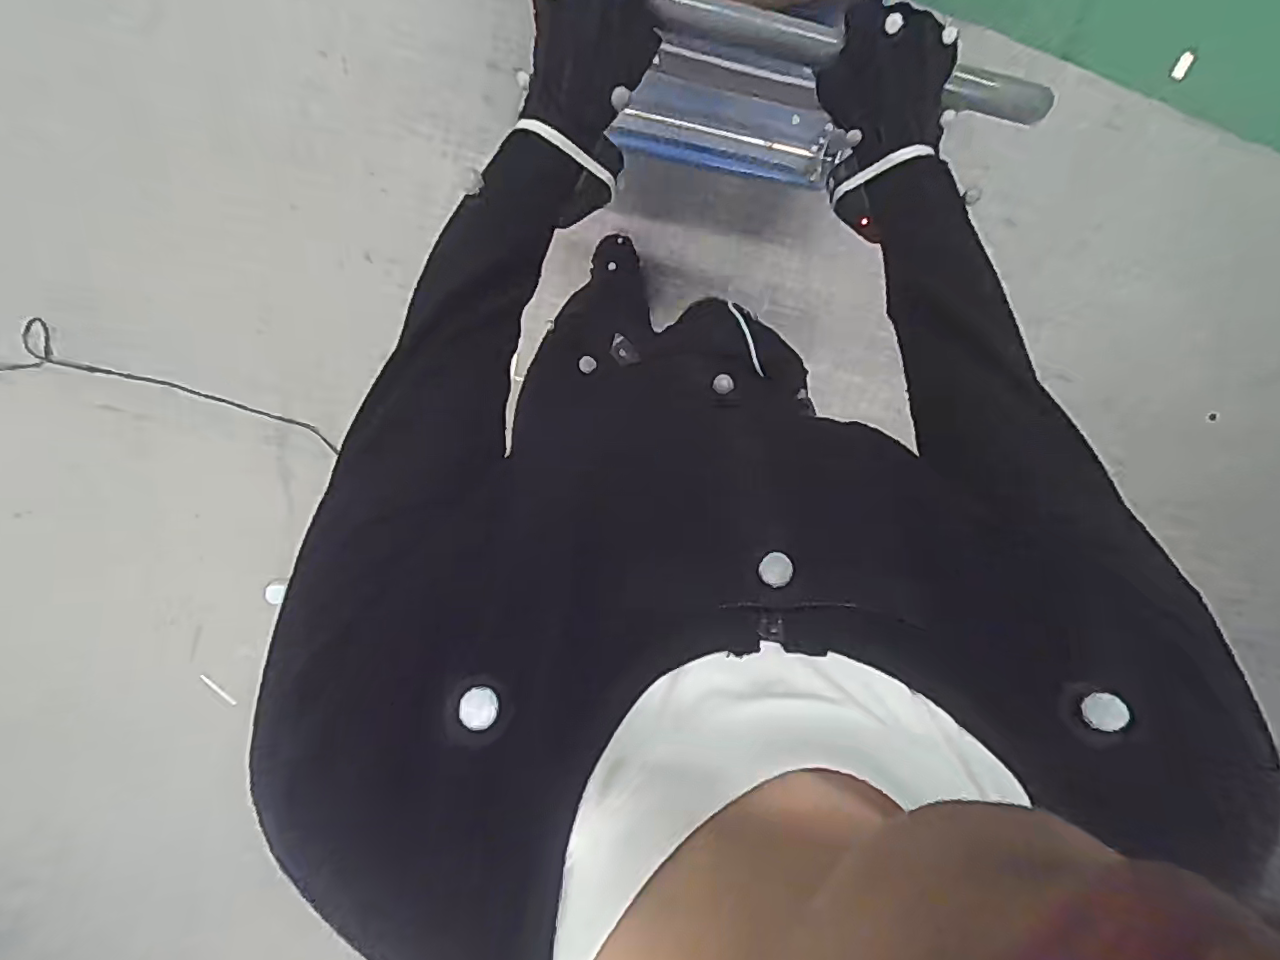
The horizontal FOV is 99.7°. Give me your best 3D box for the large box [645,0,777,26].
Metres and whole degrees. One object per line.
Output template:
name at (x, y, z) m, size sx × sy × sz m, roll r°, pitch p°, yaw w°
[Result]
large box at (0.192, -0.947, 0.795) m, size 0.408 × 0.320 × 0.320 m, roll -10°, pitch 111°, yaw 2°
